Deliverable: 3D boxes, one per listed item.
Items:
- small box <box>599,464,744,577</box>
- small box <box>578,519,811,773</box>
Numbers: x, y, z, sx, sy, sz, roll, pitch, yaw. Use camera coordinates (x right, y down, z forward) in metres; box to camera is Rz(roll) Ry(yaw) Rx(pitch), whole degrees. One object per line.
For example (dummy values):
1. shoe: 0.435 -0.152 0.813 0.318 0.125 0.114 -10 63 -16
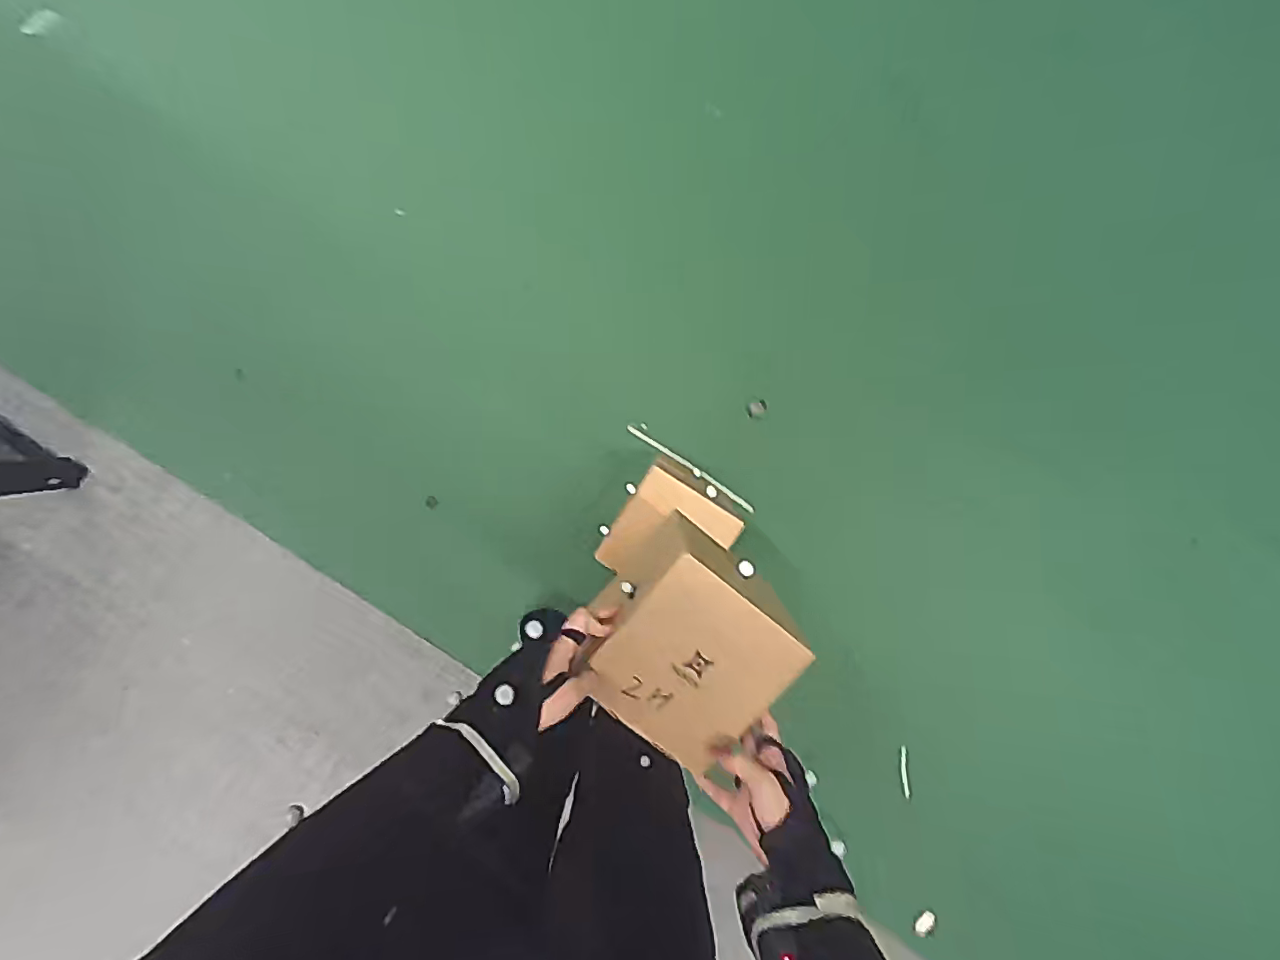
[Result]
1. small box: 0.050 0.088 0.908 0.168 0.176 0.179 32 98 -1
2. small box: 0.052 0.169 0.605 0.168 0.176 0.179 38 99 -6
